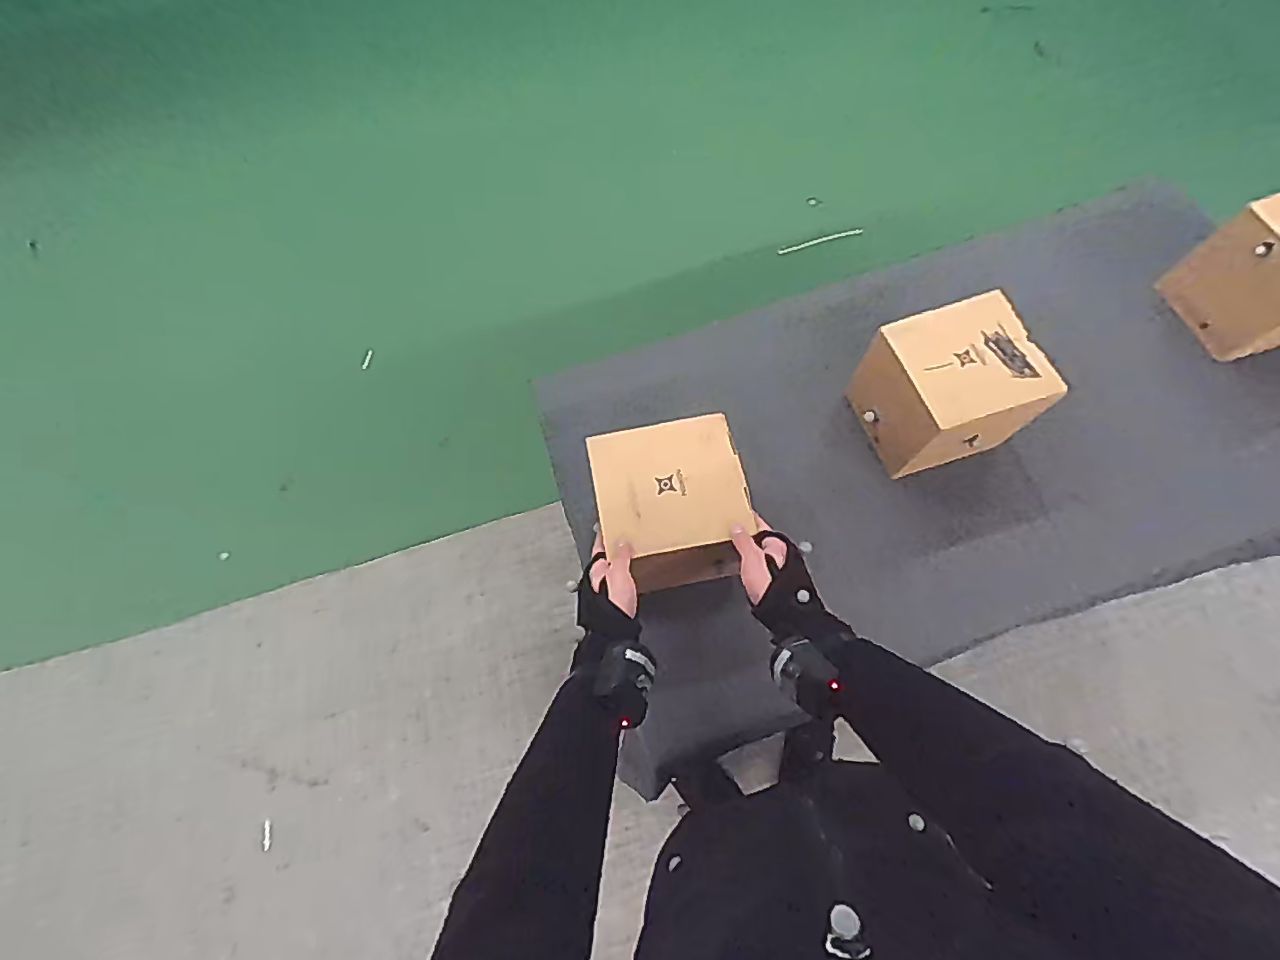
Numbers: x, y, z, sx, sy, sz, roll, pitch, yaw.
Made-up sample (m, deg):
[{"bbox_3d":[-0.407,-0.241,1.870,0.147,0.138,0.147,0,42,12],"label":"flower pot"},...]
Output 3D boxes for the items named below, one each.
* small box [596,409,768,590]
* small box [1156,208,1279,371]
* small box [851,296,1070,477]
[{"bbox_3d":[0.046,0.032,0.693,0.179,0.176,0.168,-10,64,-2],"label":"small box"},{"bbox_3d":[0.964,-0.291,0.816,0.179,0.176,0.168,-15,68,-5],"label":"small box"},{"bbox_3d":[0.433,-0.124,0.765,0.179,0.176,0.168,-16,68,-4],"label":"small box"}]
